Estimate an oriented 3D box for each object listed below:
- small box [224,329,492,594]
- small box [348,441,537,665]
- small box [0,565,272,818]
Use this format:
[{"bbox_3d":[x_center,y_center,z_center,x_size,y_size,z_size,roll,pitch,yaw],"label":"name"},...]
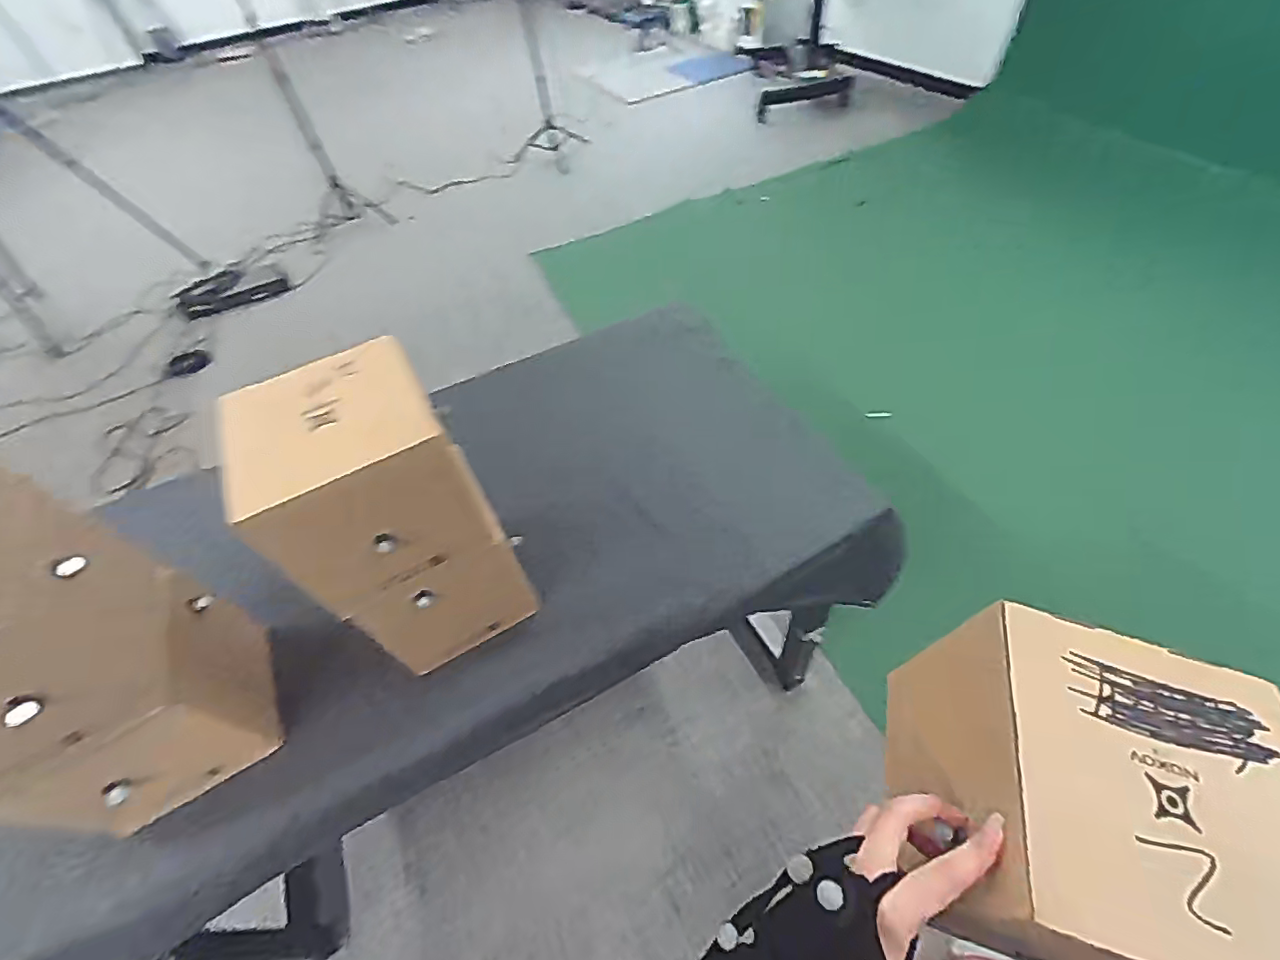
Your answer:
[{"bbox_3d":[-0.265,-0.011,0.532,0.168,0.176,0.179,-26,53,-16],"label":"small box"},{"bbox_3d":[-0.246,0.090,0.663,0.168,0.176,0.179,-27,52,-15],"label":"small box"},{"bbox_3d":[-0.529,0.231,0.580,0.168,0.176,0.179,-26,53,-17],"label":"small box"}]
